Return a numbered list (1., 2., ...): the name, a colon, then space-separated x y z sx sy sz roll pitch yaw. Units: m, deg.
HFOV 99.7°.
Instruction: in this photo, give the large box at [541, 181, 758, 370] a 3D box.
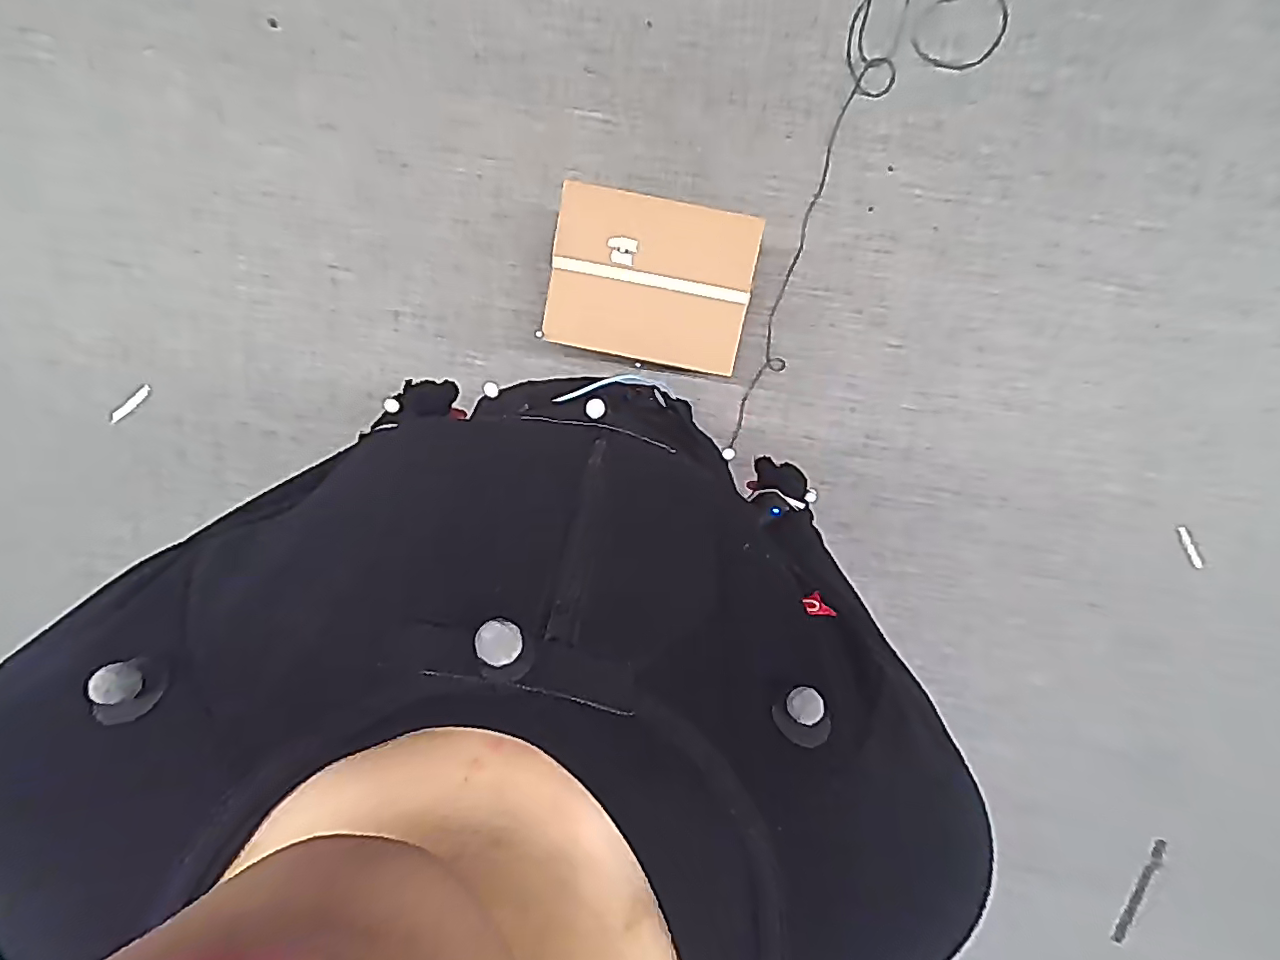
1. large box: 0.021 -0.443 1.242 0.408 0.320 0.320 11 102 0
